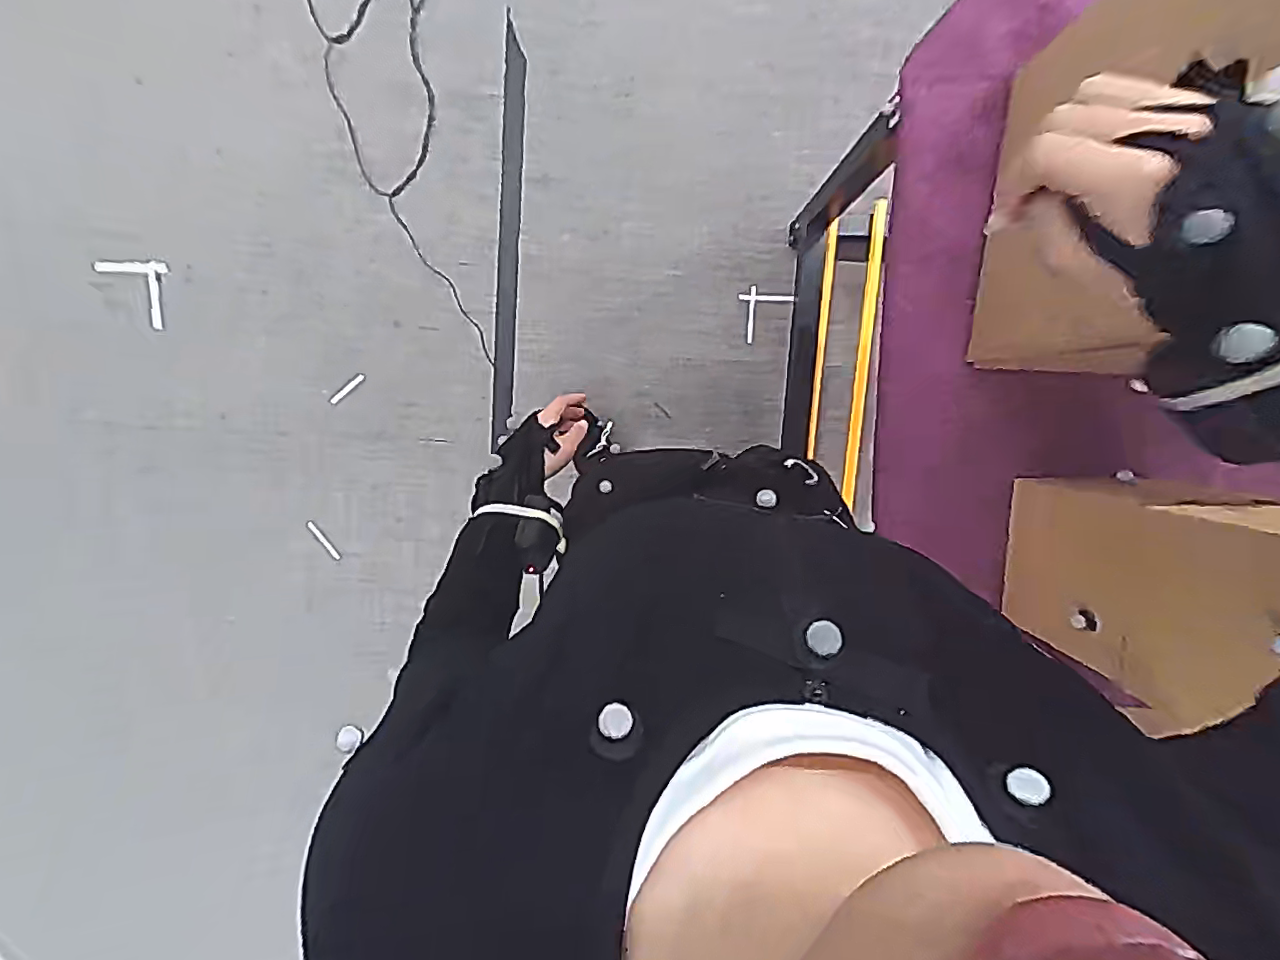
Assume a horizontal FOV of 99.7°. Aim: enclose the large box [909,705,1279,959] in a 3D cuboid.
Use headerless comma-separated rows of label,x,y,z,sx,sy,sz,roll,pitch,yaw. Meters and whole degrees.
large box,0.549,0.449,0.543,0.408,0.320,0.320,3,98,-2
